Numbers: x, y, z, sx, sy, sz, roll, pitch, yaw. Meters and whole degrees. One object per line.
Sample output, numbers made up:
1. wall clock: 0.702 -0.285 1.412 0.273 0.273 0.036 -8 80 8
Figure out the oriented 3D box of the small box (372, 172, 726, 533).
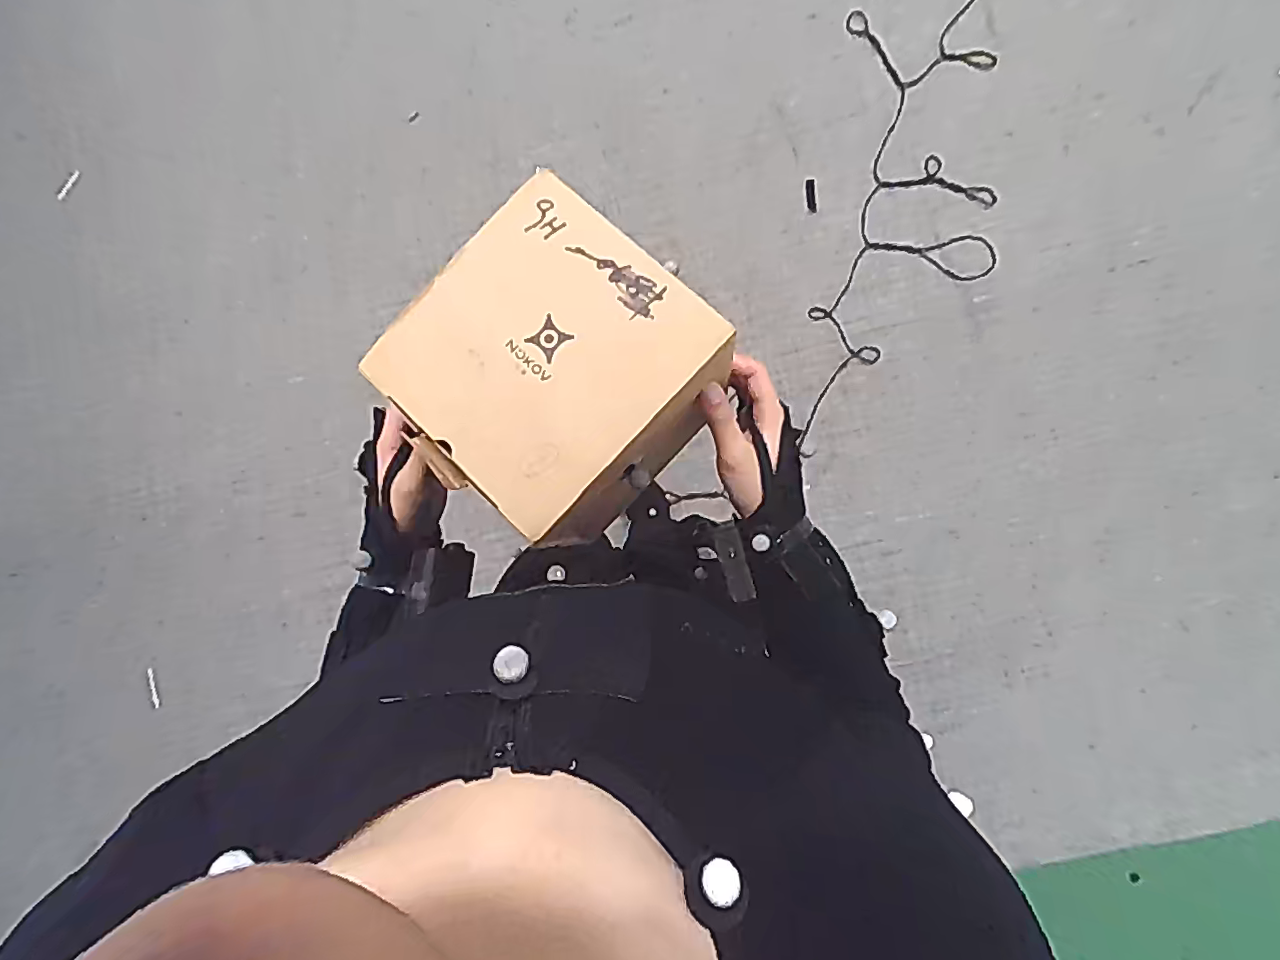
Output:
1. small box: -0.050 -0.075 0.415 0.168 0.176 0.179 43 91 9
